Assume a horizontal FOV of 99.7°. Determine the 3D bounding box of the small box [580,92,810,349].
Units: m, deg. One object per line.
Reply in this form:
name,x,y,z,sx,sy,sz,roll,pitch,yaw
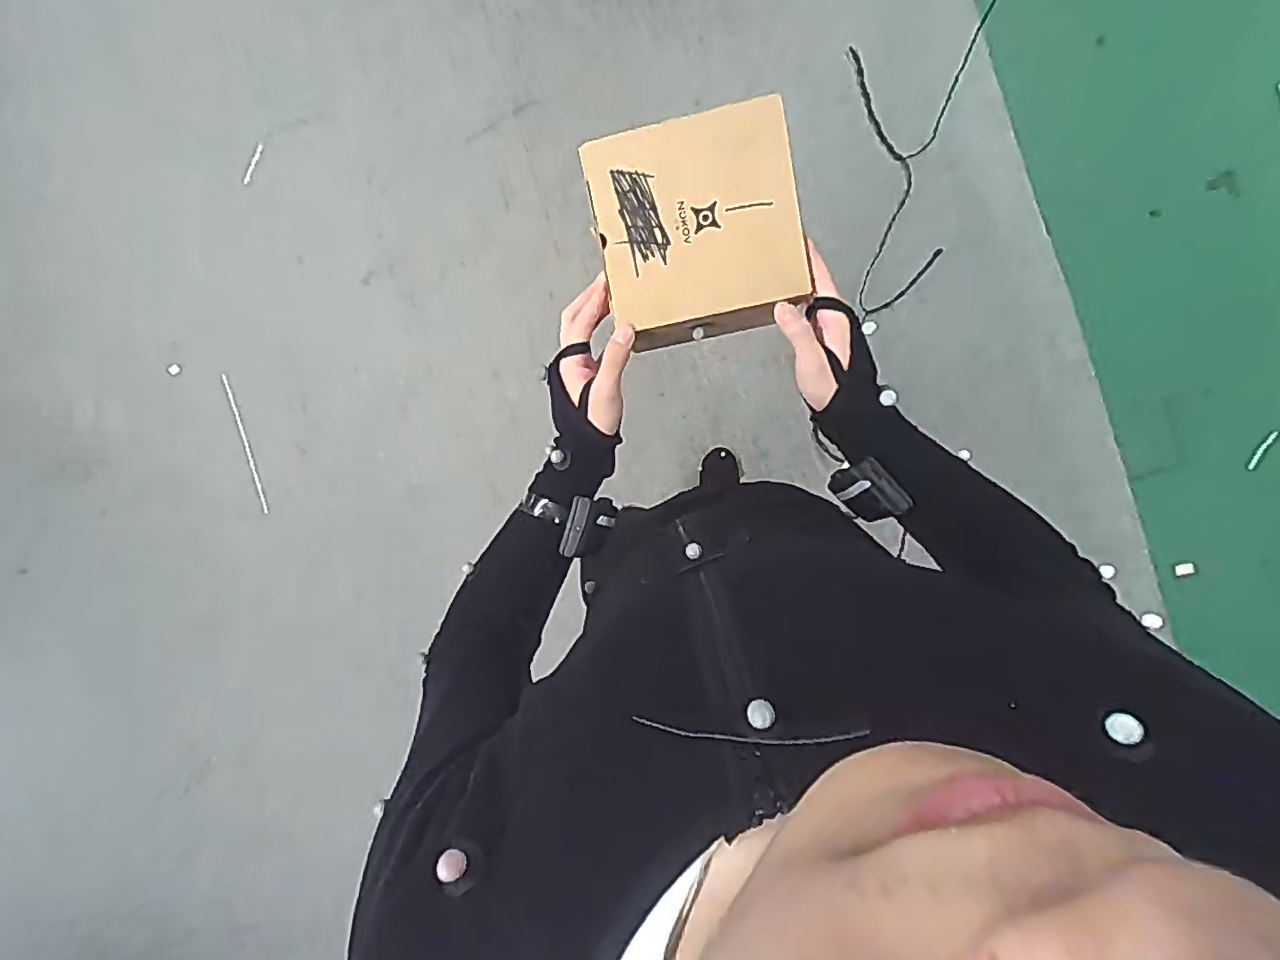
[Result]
small box,0.054,-0.234,0.540,0.179,0.176,0.168,-11,97,6
